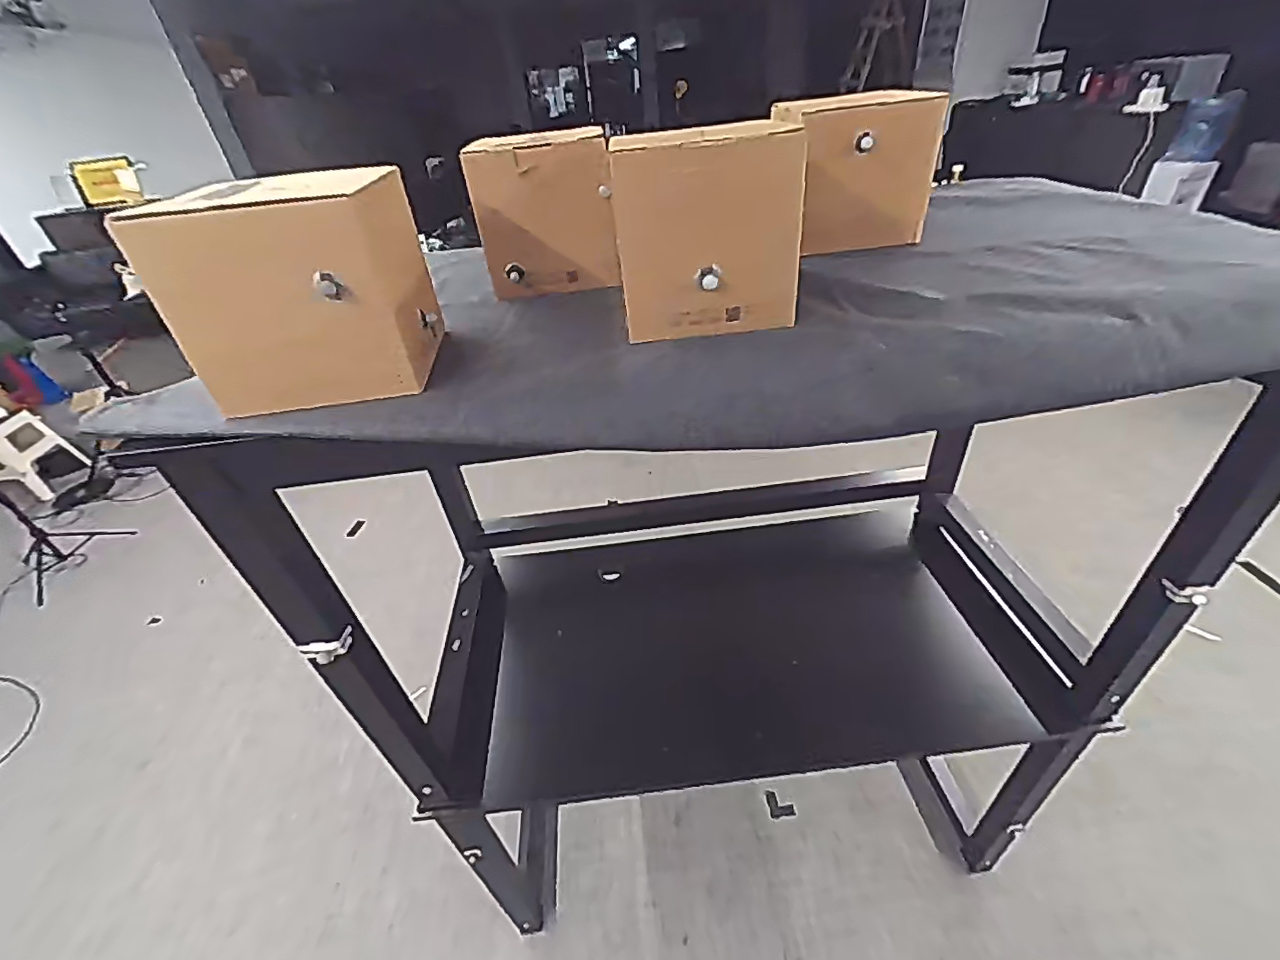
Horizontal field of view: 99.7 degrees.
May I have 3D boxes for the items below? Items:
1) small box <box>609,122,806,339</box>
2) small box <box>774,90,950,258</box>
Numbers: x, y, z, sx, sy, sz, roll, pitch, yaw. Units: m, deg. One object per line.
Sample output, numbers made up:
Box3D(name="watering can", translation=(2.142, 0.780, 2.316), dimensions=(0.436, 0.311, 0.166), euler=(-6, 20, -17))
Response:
Box3D(name="small box", translation=(0.061, -0.259, 0.557), dimensions=(0.168, 0.176, 0.179), euler=(-6, 36, 2))
Box3D(name="small box", translation=(0.282, -0.419, 0.741), dimensions=(0.179, 0.176, 0.168), euler=(-6, 36, 3))
